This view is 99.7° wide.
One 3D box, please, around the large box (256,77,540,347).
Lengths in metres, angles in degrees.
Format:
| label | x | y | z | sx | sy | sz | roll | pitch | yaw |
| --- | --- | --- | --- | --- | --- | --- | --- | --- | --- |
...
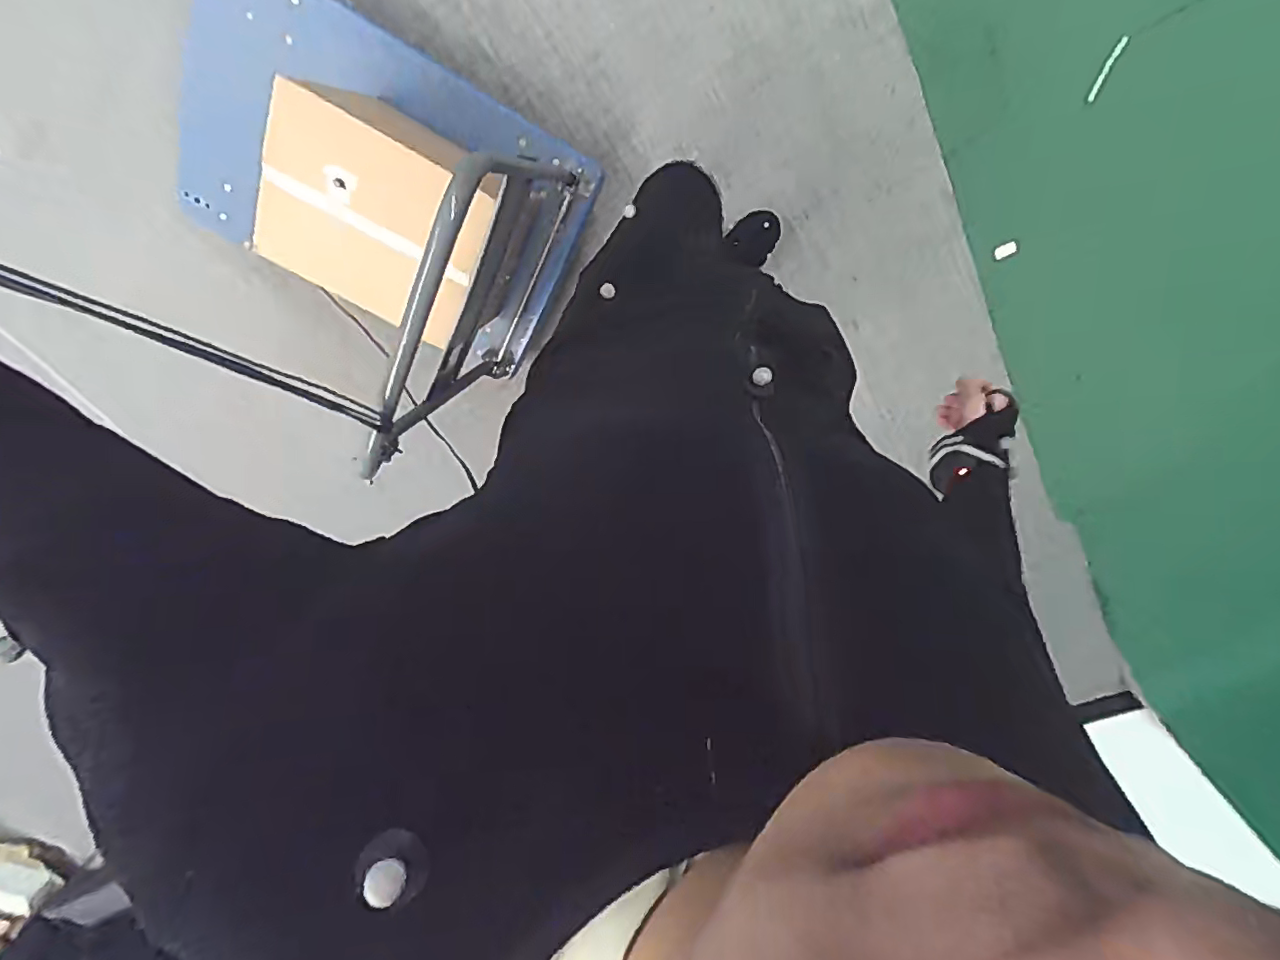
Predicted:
| label | x | y | z | sx | sy | sz | roll | pitch | yaw |
| --- | --- | --- | --- | --- | --- | --- | --- | --- | --- |
| large box | -0.475 | -0.539 | 1.118 | 0.408 | 0.320 | 0.320 | 27 | 118 | -9 |
